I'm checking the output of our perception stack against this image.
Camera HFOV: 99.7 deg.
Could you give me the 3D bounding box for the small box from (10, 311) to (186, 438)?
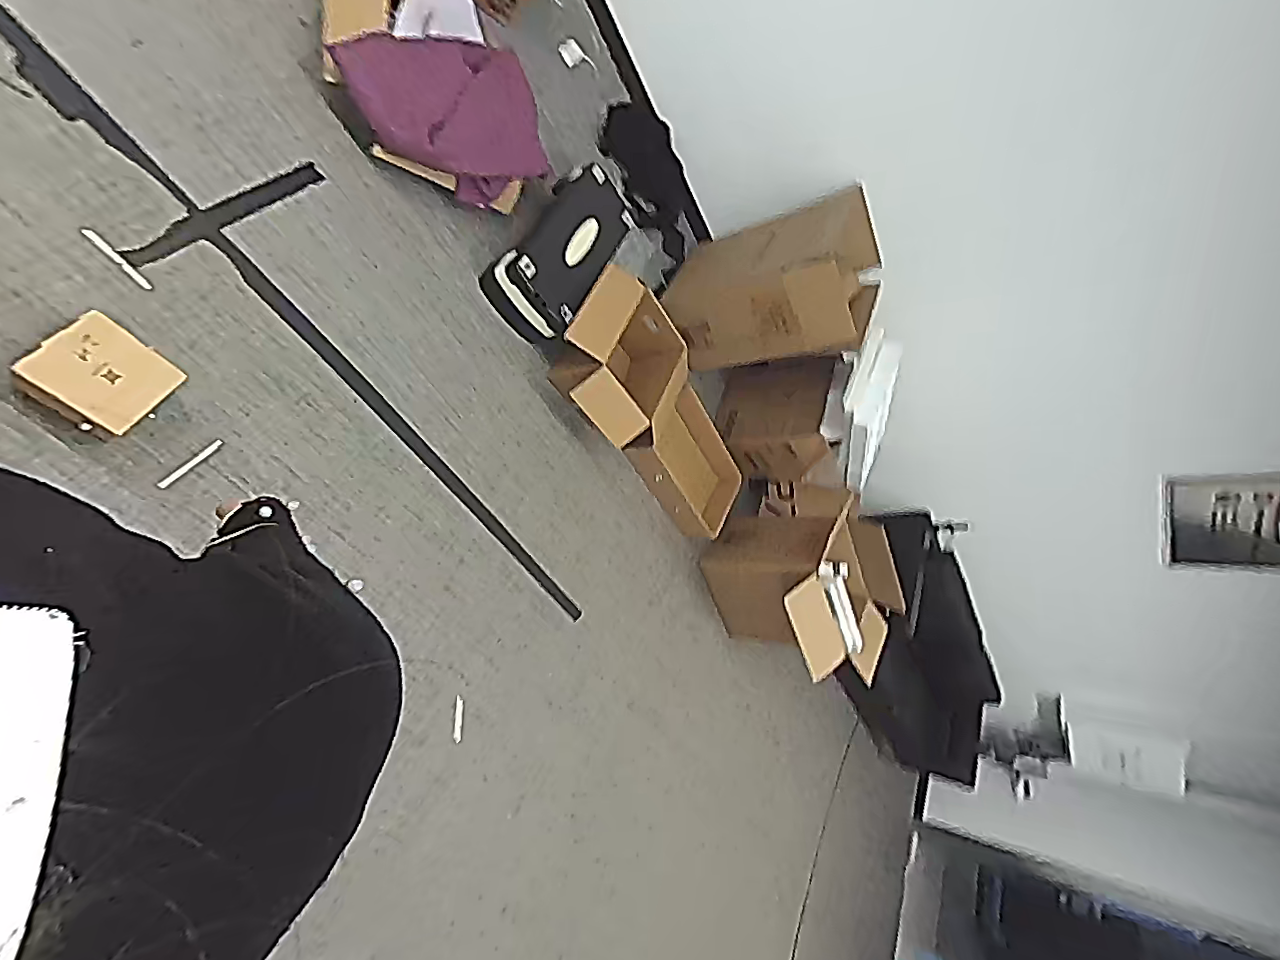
[{"bbox_3d":[-1.051,-0.196,1.054,0.179,0.176,0.168,50,52,-35],"label":"small box"}]
